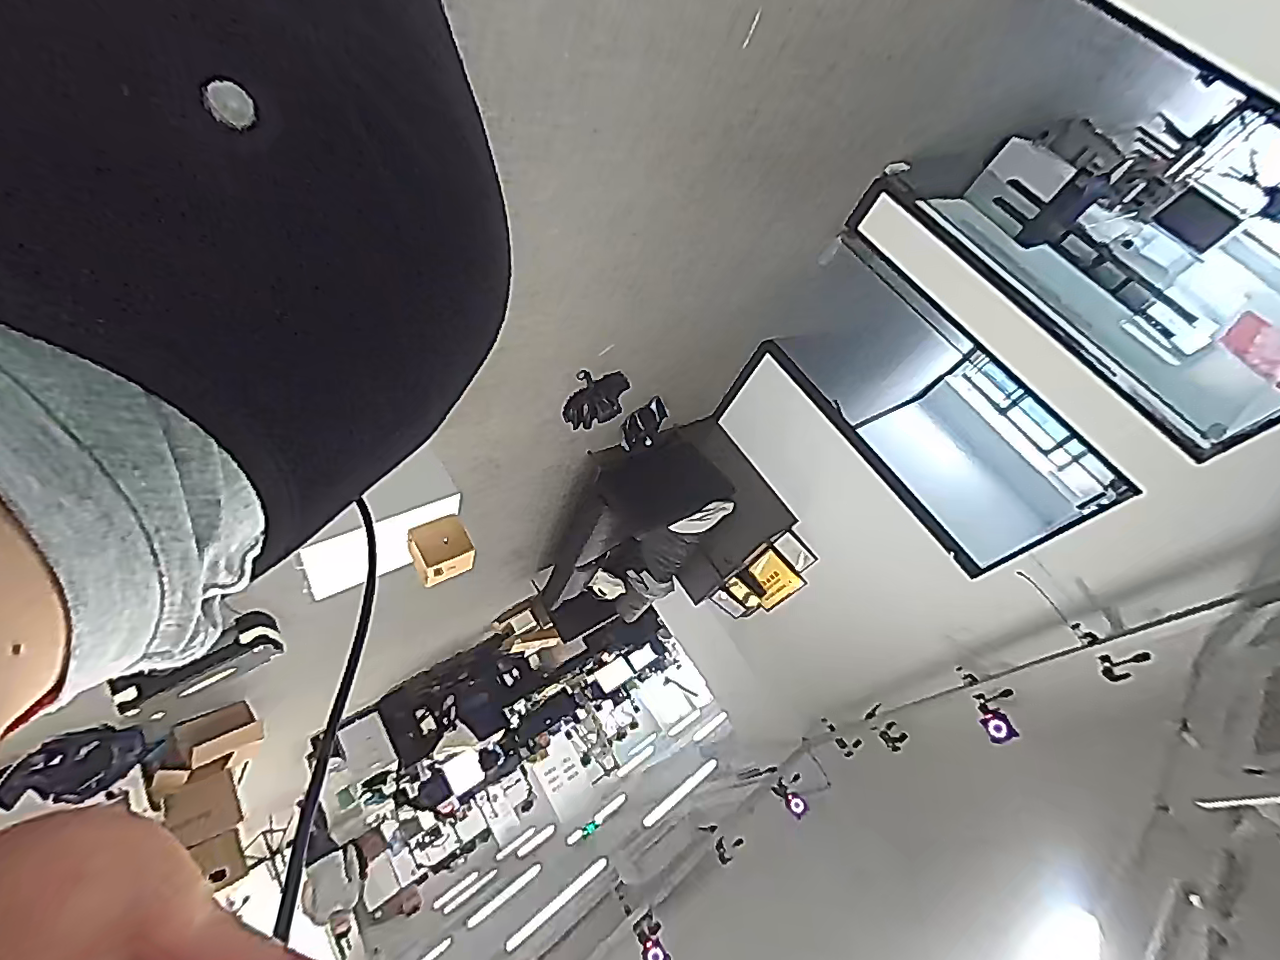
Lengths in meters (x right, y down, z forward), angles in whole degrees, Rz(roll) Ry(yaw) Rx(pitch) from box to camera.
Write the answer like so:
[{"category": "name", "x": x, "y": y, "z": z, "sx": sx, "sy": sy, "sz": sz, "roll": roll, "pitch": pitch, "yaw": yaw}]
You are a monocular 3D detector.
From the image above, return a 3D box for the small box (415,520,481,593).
[{"category": "small box", "x": -0.701, "y": 0.274, "z": 1.962, "sx": 0.179, "sy": 0.176, "sz": 0.168, "roll": -24, "pitch": 158, "yaw": -33}]
